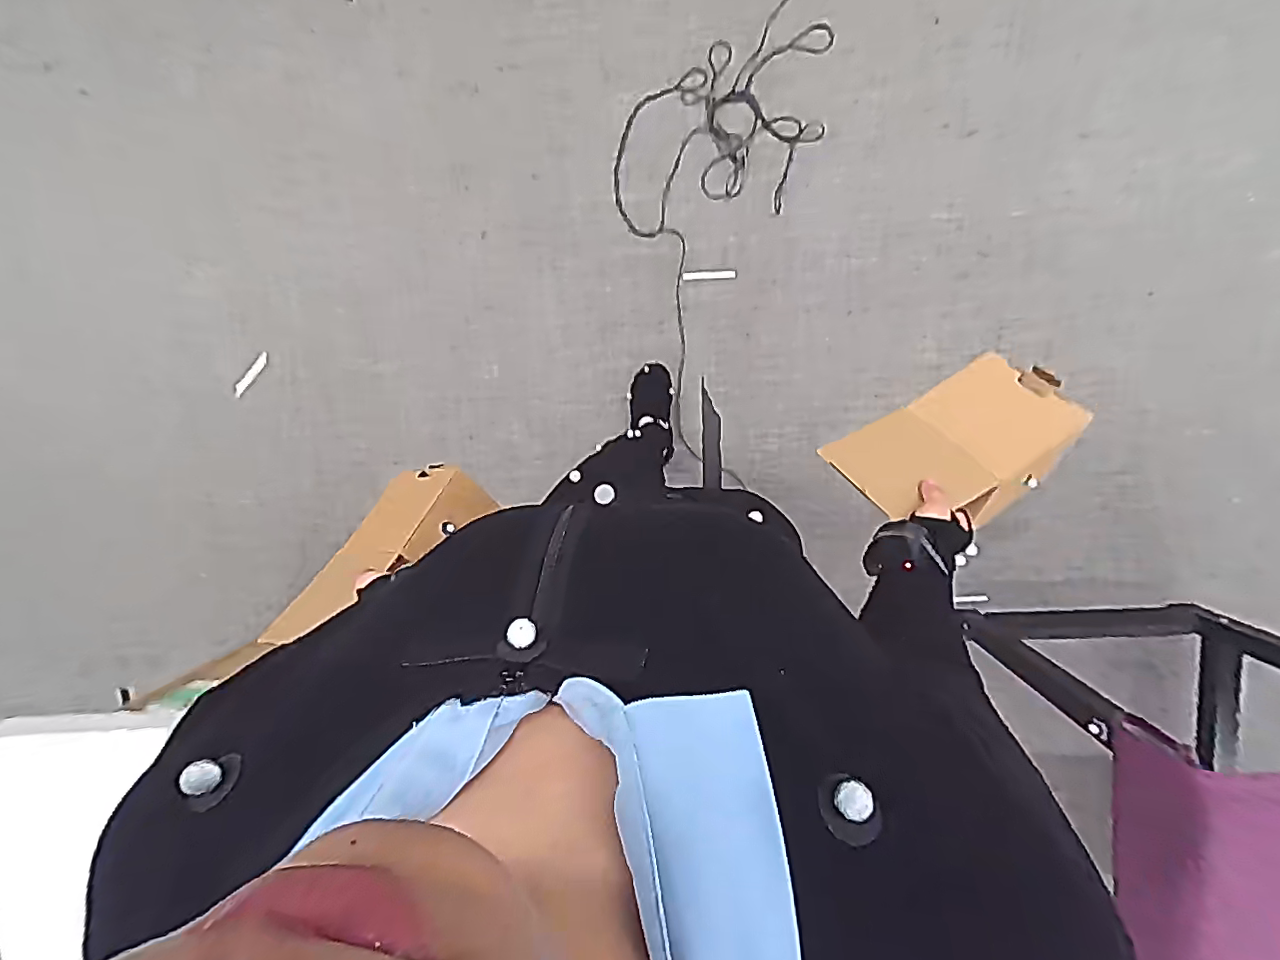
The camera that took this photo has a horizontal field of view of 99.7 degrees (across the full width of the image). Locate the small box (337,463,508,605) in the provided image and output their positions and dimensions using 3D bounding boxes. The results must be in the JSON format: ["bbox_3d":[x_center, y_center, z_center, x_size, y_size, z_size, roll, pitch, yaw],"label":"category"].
[{"bbox_3d":[-0.357,0.094,0.919,0.168,0.179,0.176,-2,138,33],"label":"small box"}]
